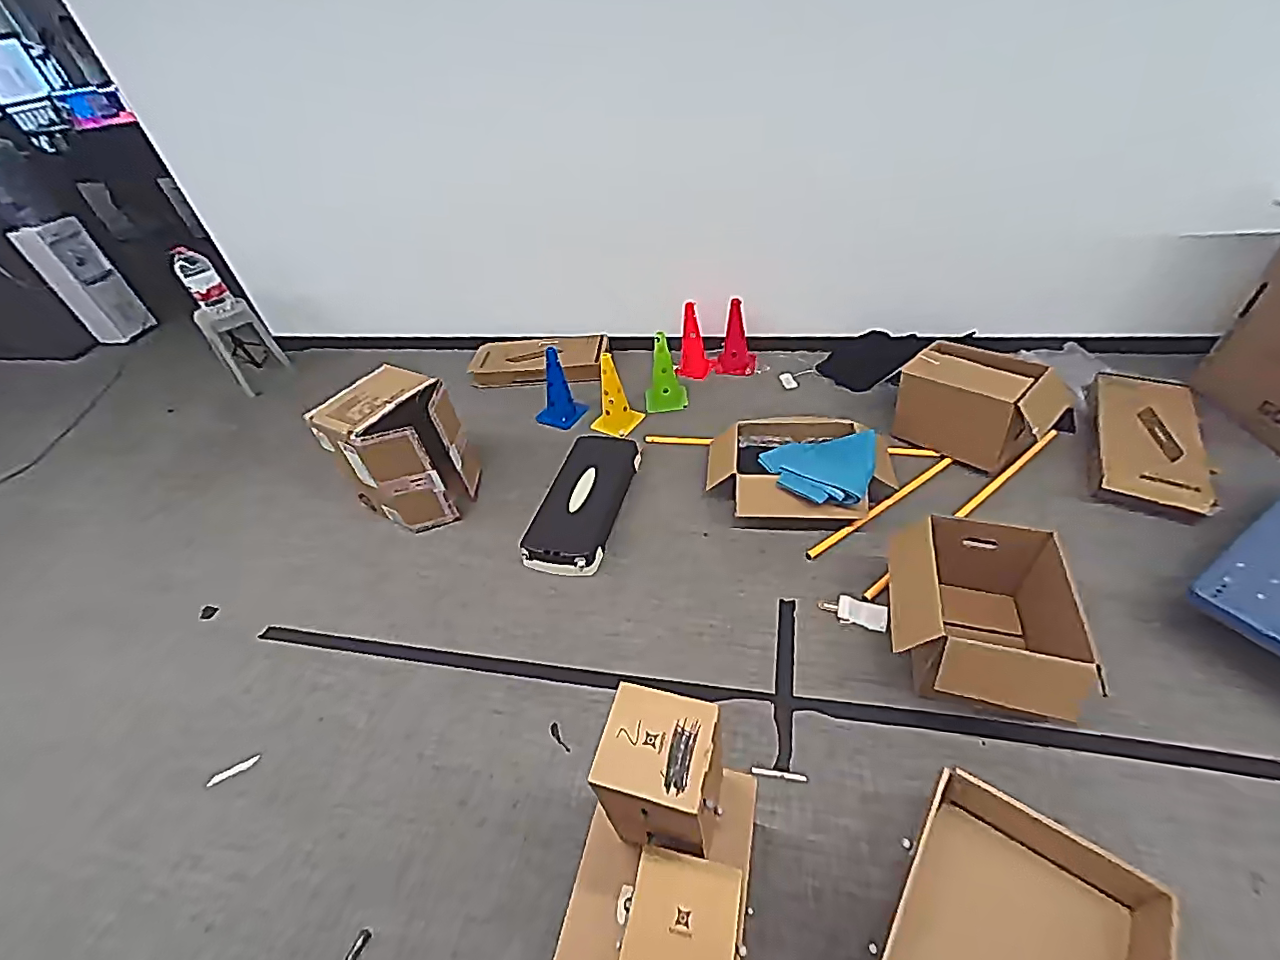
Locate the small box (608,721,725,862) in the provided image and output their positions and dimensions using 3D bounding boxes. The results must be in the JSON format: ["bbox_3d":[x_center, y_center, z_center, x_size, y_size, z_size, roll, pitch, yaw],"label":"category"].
[{"bbox_3d":[0.058,0.584,1.012,0.179,0.176,0.168,7,47,17],"label":"small box"}]

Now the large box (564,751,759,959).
[{"bbox_3d":[0.067,0.837,1.102,0.320,0.320,0.408,4,45,15],"label":"large box"}]
